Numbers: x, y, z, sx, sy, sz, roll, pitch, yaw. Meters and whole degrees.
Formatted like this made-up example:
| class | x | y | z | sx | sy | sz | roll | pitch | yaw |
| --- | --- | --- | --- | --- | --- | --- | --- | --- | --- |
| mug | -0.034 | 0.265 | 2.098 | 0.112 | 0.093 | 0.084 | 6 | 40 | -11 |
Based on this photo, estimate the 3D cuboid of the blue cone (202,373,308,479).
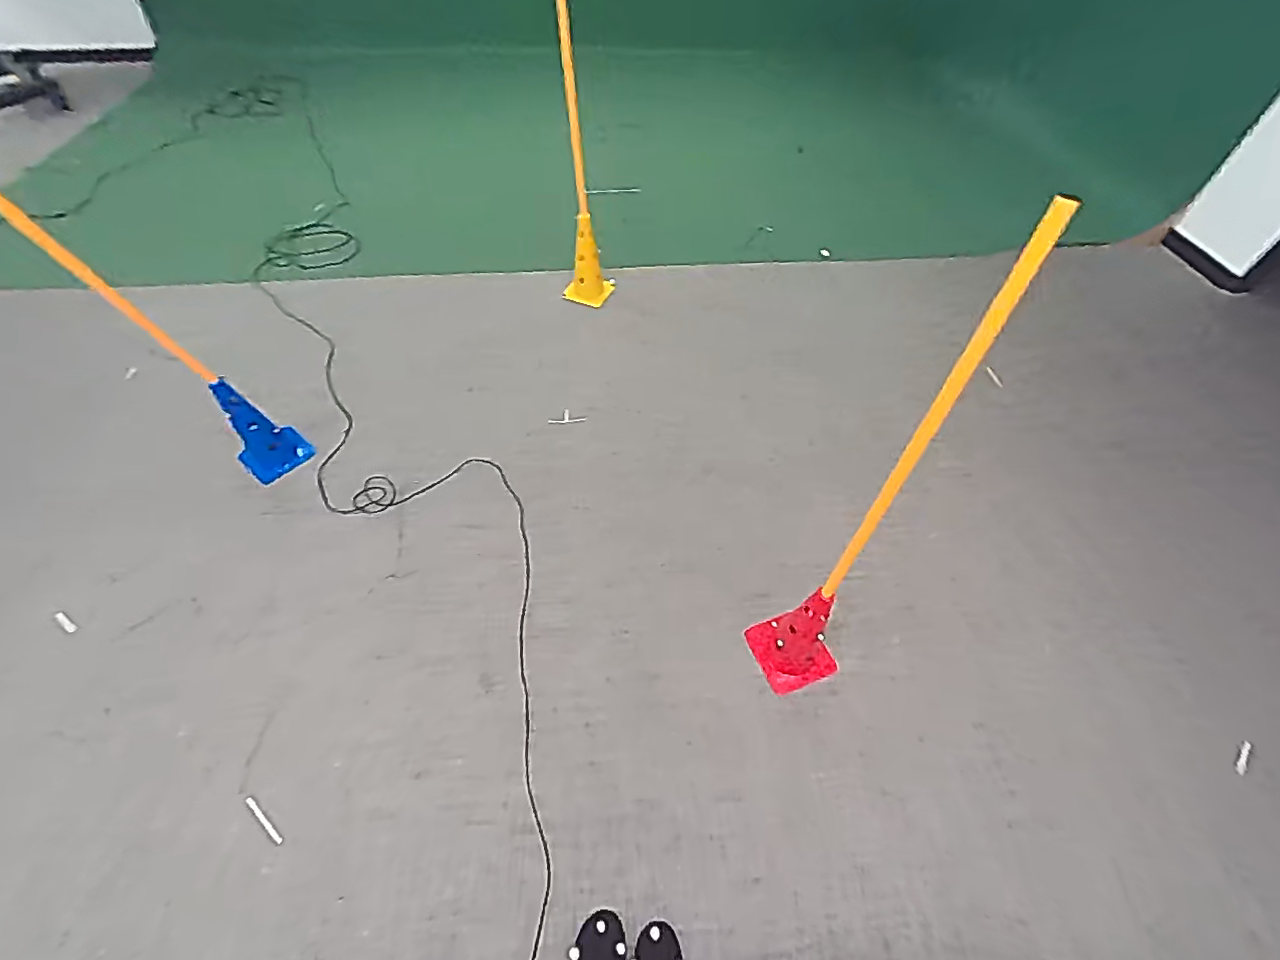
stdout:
| class | x | y | z | sx | sy | sz | roll | pitch | yaw |
| --- | --- | --- | --- | --- | --- | --- | --- | --- | --- |
| blue cone | -1.270 | -0.191 | 1.740 | 0.192 | 0.380 | 0.193 | 34 | 61 | 21 |
